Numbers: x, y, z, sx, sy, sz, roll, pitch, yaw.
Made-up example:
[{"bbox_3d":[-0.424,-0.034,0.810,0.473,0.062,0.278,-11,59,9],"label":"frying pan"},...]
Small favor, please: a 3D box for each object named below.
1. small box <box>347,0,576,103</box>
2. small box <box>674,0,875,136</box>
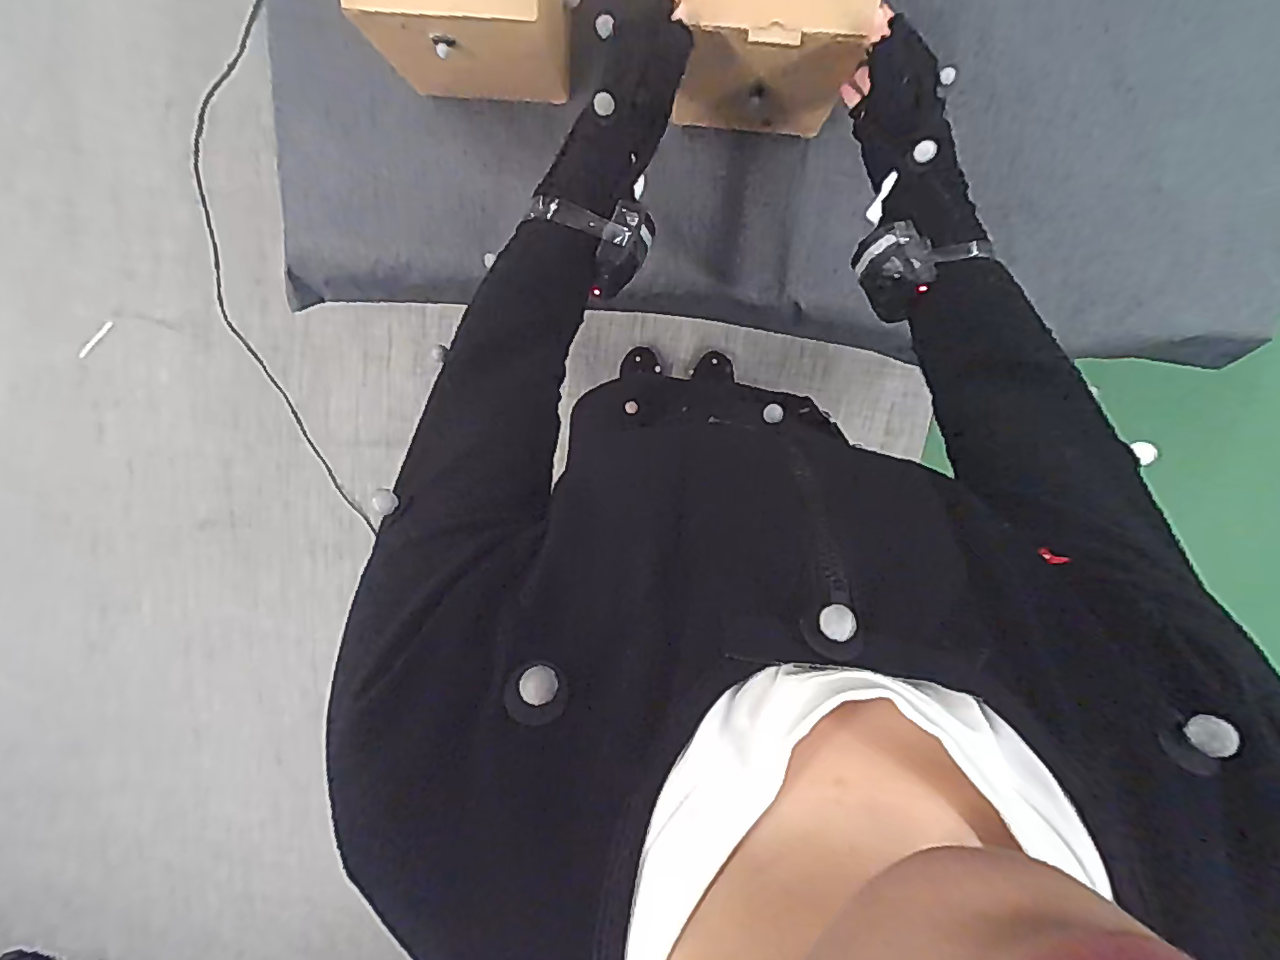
[{"bbox_3d":[-0.163,-0.502,0.533,0.179,0.176,0.168,4,104,0],"label":"small box"},{"bbox_3d":[0.124,-0.465,0.521,0.168,0.176,0.179,6,98,1],"label":"small box"}]
